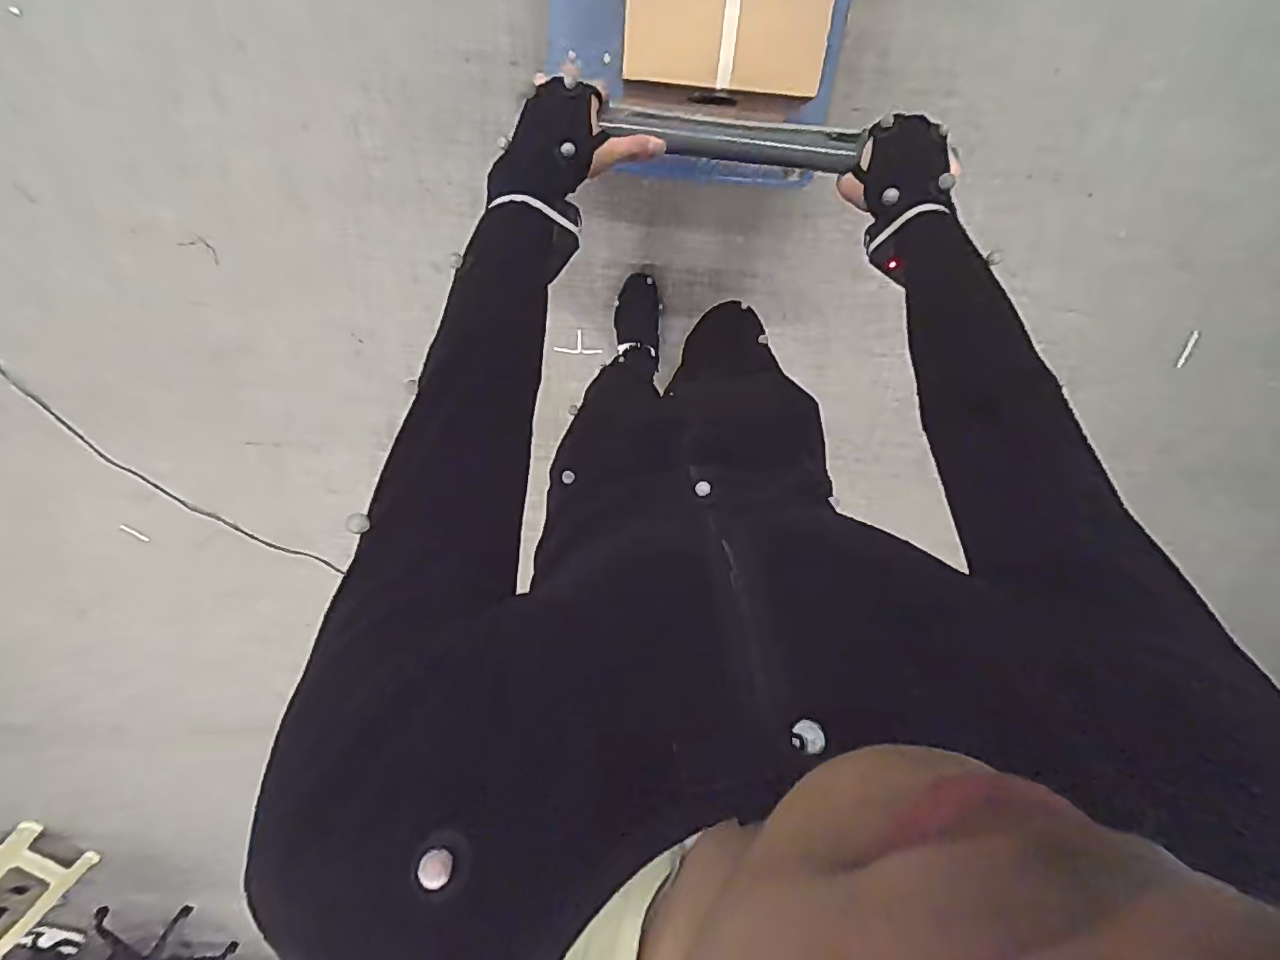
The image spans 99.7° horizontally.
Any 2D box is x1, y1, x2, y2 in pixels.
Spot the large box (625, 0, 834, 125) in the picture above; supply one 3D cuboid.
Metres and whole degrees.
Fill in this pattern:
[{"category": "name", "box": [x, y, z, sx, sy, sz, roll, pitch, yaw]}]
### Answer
[{"category": "large box", "box": [0.142, -0.863, 0.906, 0.320, 0.320, 0.408, 4, 115, -3]}]
